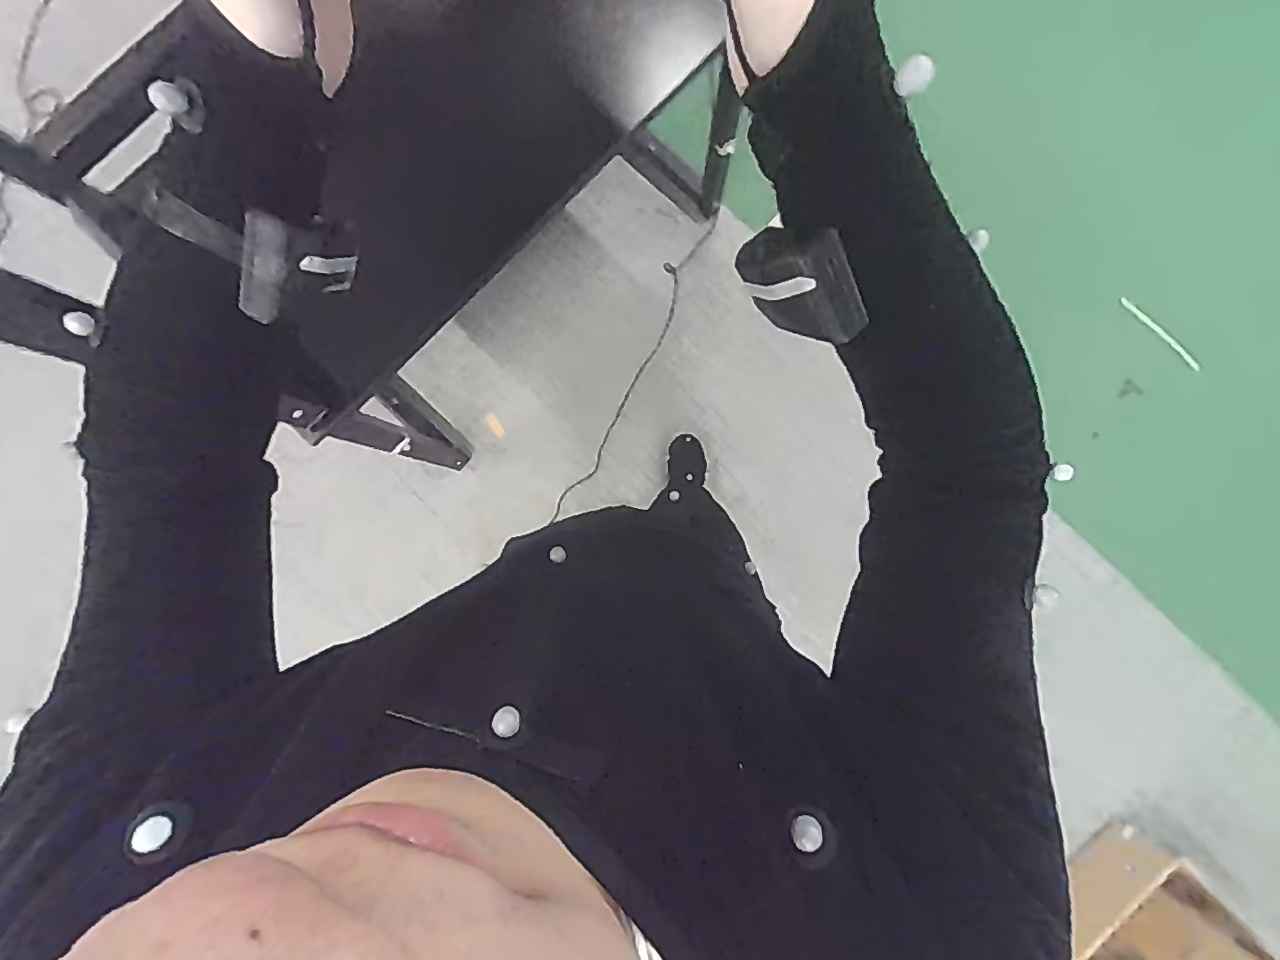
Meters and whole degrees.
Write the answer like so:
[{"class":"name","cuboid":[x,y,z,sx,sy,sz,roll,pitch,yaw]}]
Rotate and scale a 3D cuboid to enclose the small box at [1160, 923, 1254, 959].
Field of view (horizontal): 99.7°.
[{"class":"small box","cuboid":[1.382,1.193,1.244,0.168,0.176,0.179,-44,86,-2]}]
